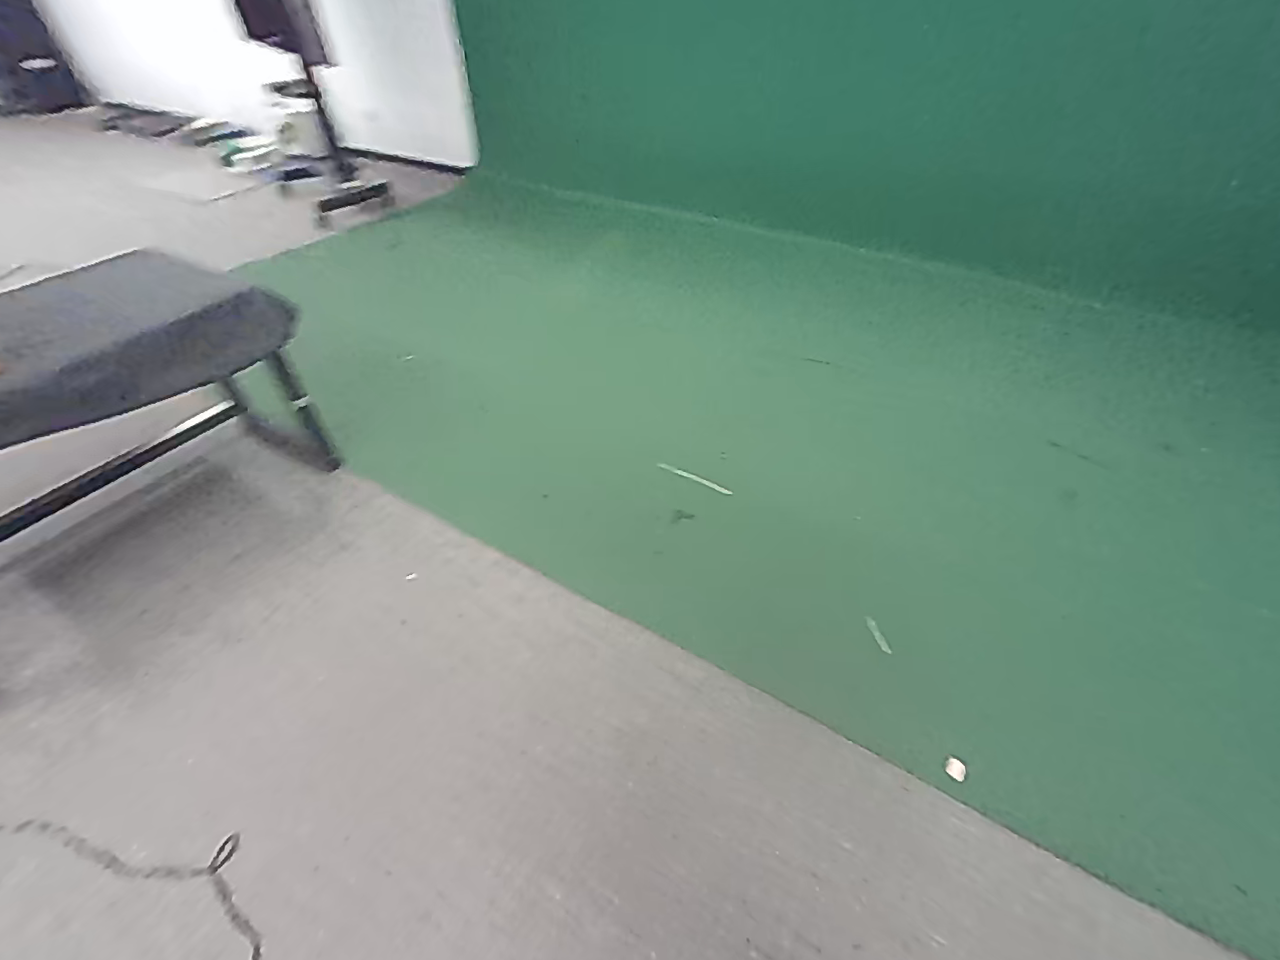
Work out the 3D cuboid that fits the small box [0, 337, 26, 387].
[{"bbox_3d":[-1.605,-0.296,1.254,0.168,0.176,0.179,21,49,23],"label":"small box"}]
